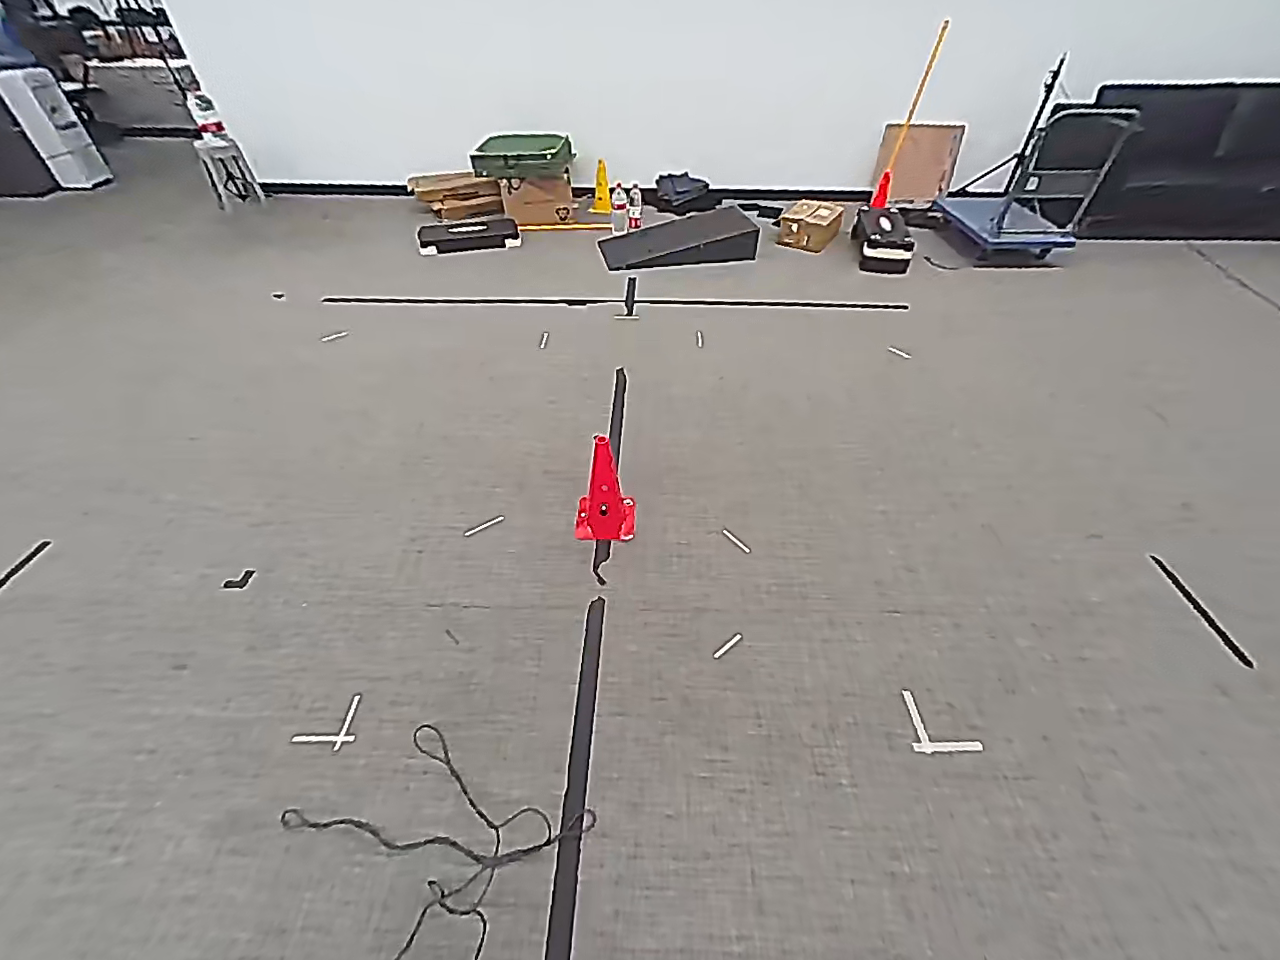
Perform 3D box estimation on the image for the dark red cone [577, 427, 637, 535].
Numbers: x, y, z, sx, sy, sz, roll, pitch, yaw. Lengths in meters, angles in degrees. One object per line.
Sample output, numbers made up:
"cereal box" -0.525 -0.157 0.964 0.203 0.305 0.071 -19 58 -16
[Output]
"dark red cone" -0.113 -0.010 1.751 0.201 0.394 0.202 0 44 1
